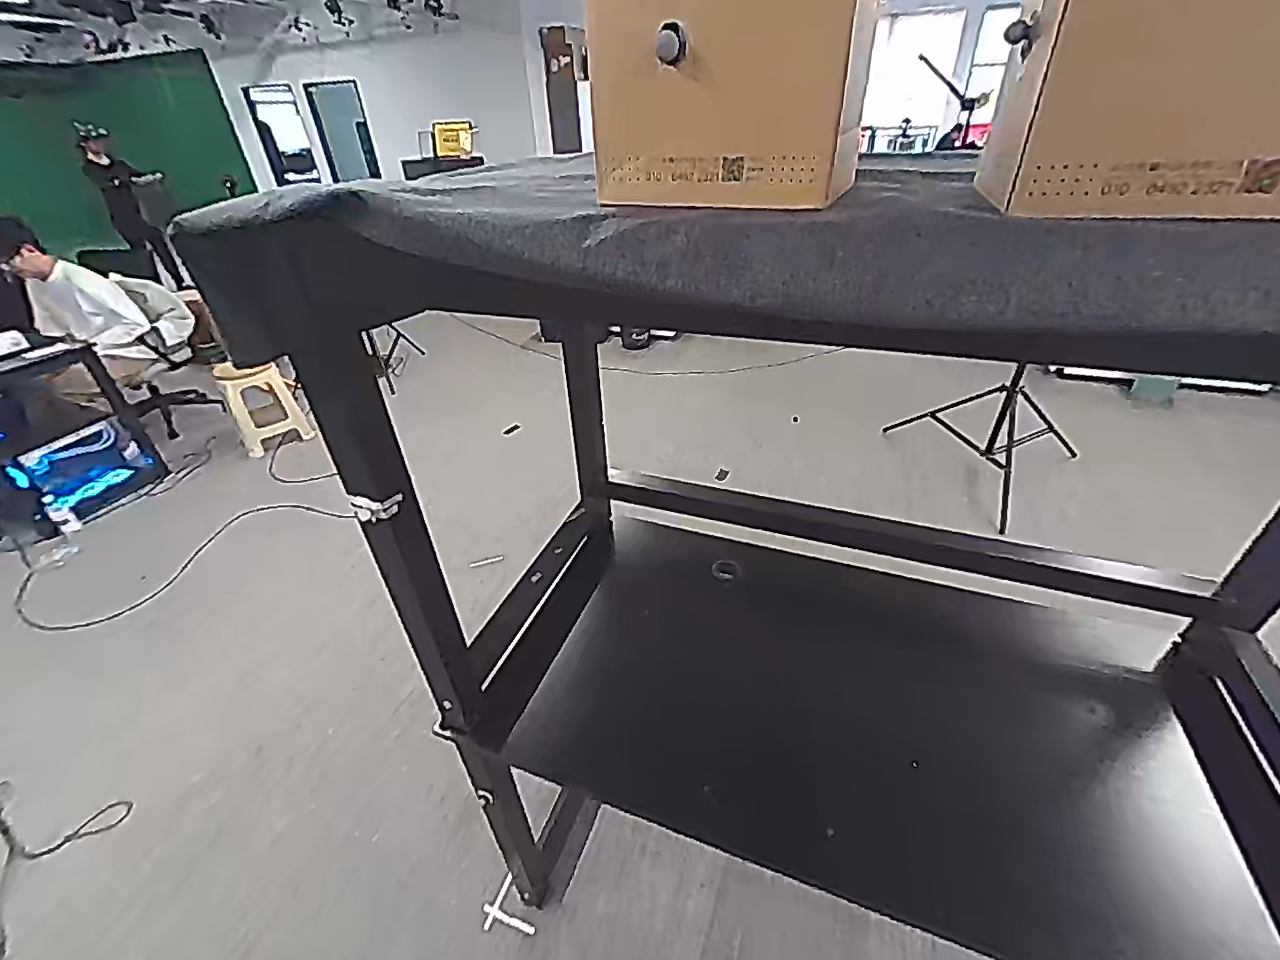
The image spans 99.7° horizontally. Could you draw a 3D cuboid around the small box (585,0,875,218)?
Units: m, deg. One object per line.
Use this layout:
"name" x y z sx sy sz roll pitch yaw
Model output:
"small box" 0.074 -0.295 0.397 0.168 0.176 0.179 12 35 20
